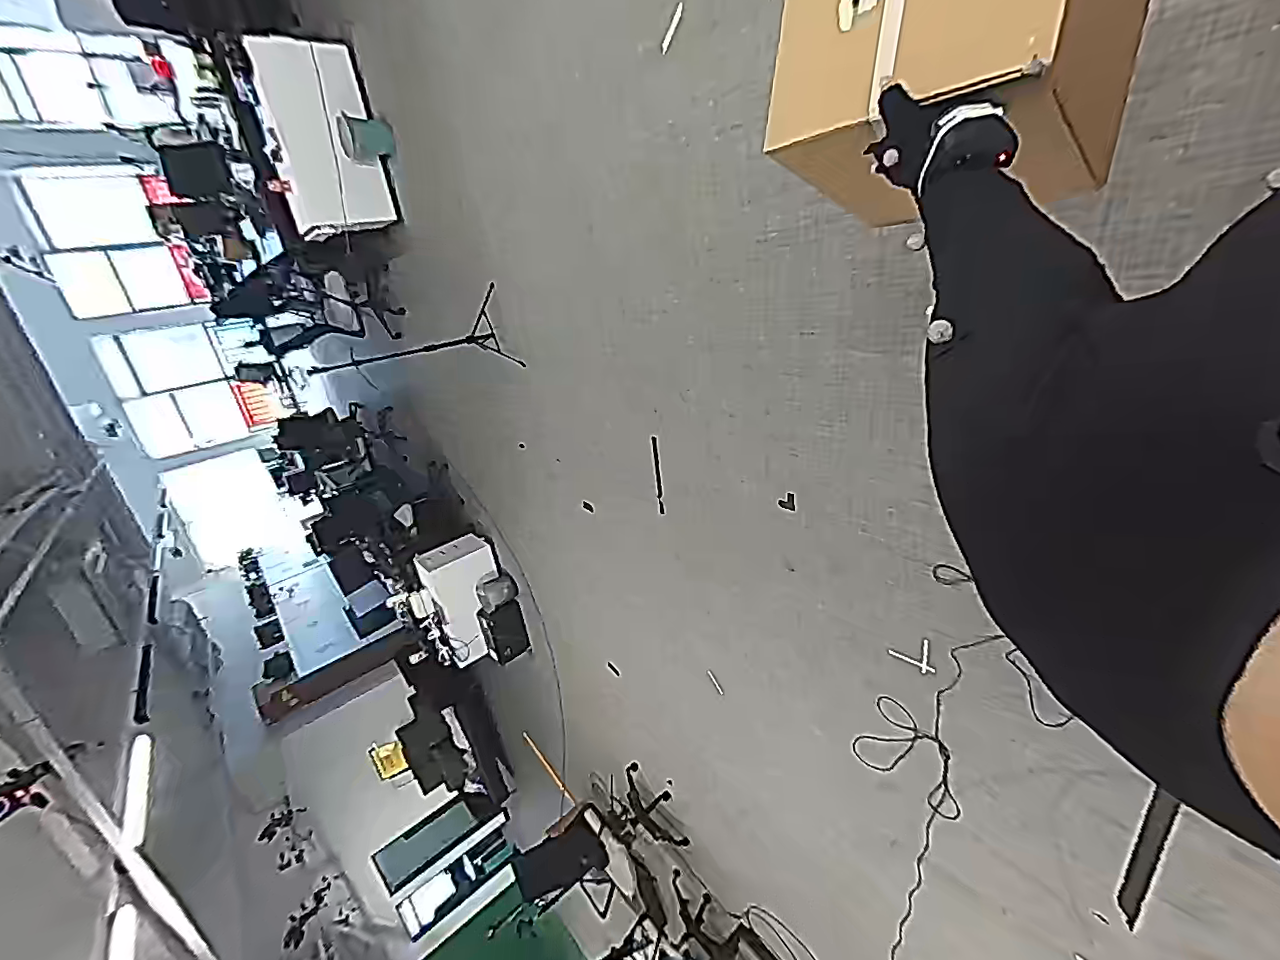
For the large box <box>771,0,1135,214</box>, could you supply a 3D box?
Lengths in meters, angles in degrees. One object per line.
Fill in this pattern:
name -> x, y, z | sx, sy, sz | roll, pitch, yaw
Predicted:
large box -> 0.404, -0.610, 0.679 | 0.320, 0.320, 0.408 | 17, 104, 48
